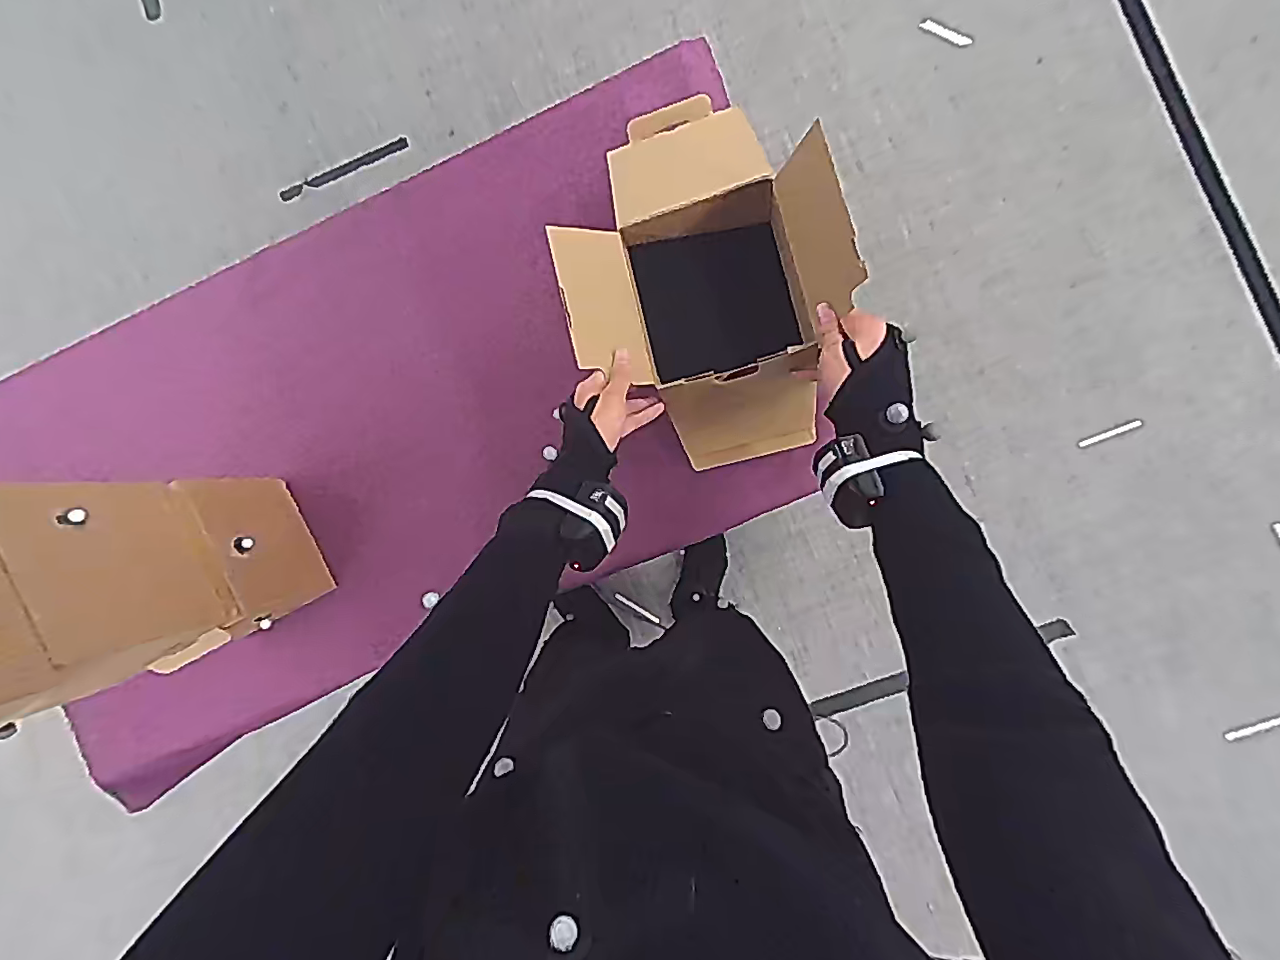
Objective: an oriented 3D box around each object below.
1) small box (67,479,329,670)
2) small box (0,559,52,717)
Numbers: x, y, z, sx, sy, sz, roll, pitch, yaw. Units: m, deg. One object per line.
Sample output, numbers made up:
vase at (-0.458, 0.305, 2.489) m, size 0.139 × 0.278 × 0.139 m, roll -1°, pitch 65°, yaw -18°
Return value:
small box at (-0.546, 0.107, 0.696) m, size 0.168 × 0.176 × 0.179 m, roll -26°, pitch 88°, yaw 5°
small box at (-0.587, 0.124, 0.368) m, size 0.168 × 0.176 × 0.179 m, roll -29°, pitch 87°, yaw 5°
